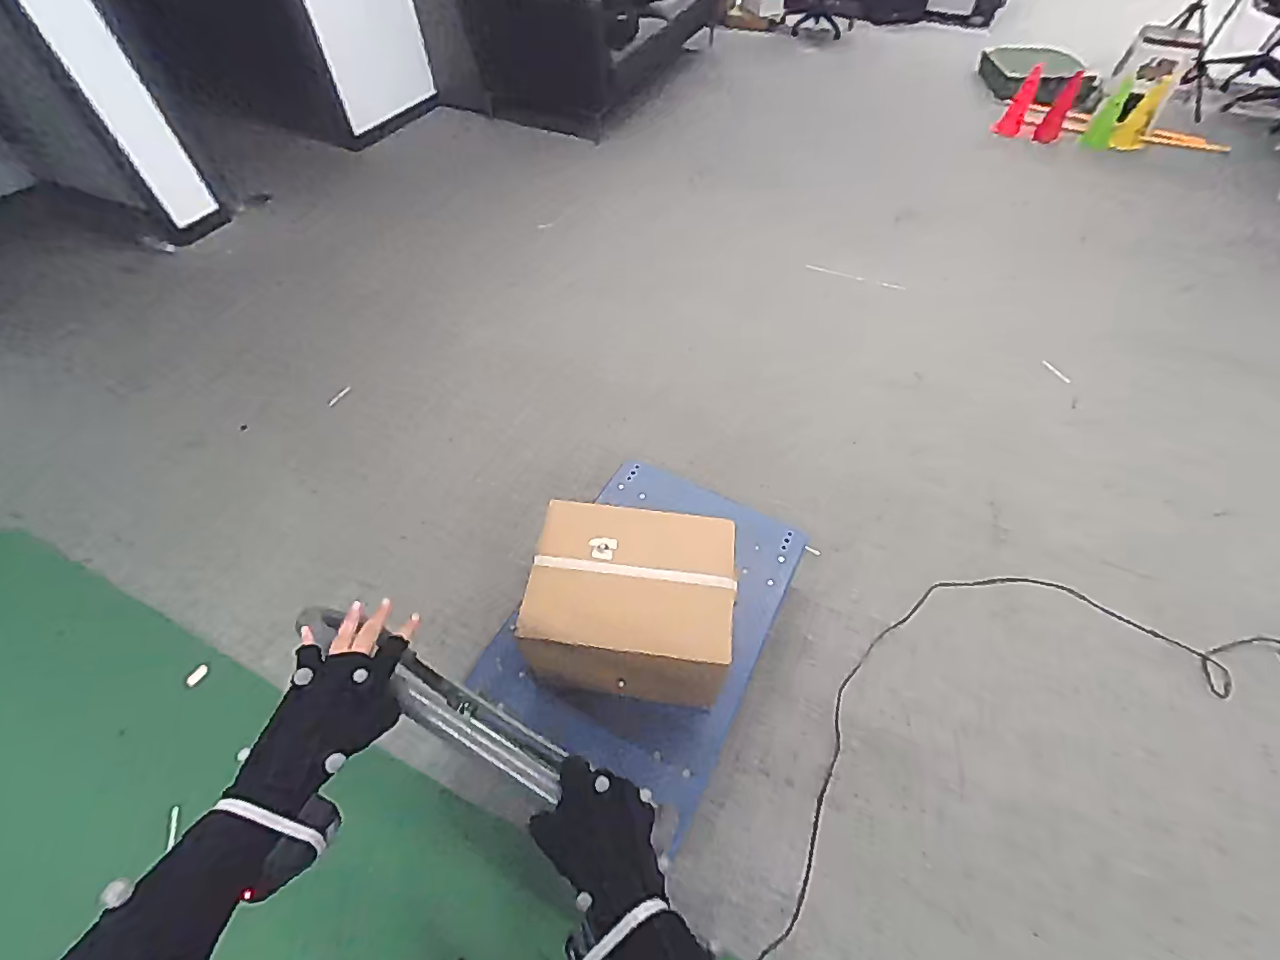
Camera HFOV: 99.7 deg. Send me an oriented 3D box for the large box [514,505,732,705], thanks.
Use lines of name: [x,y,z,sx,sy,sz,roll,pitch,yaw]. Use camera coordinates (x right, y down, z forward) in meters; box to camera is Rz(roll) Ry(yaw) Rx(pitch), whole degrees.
large box: [-0.017,0.283,1.194,0.408,0.320,0.320,6,53,5]
